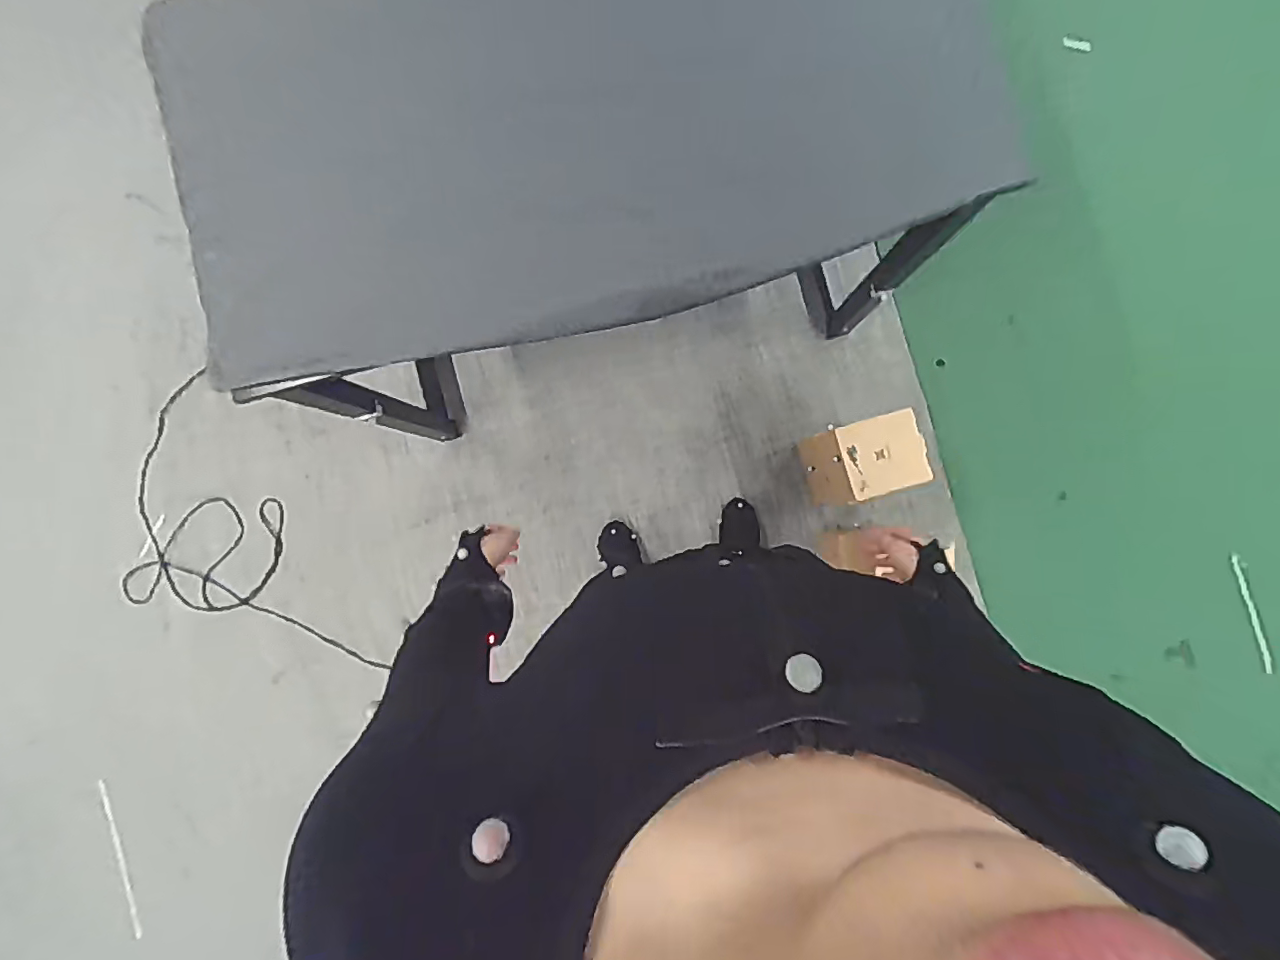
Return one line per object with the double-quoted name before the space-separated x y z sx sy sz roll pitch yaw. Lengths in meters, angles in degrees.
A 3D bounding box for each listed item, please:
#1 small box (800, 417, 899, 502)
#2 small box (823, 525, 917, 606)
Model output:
"small box" 0.531 -0.048 1.392 0.168 0.176 0.179 -17 86 2
"small box" 0.580 0.213 1.379 0.168 0.176 0.179 -7 88 3
